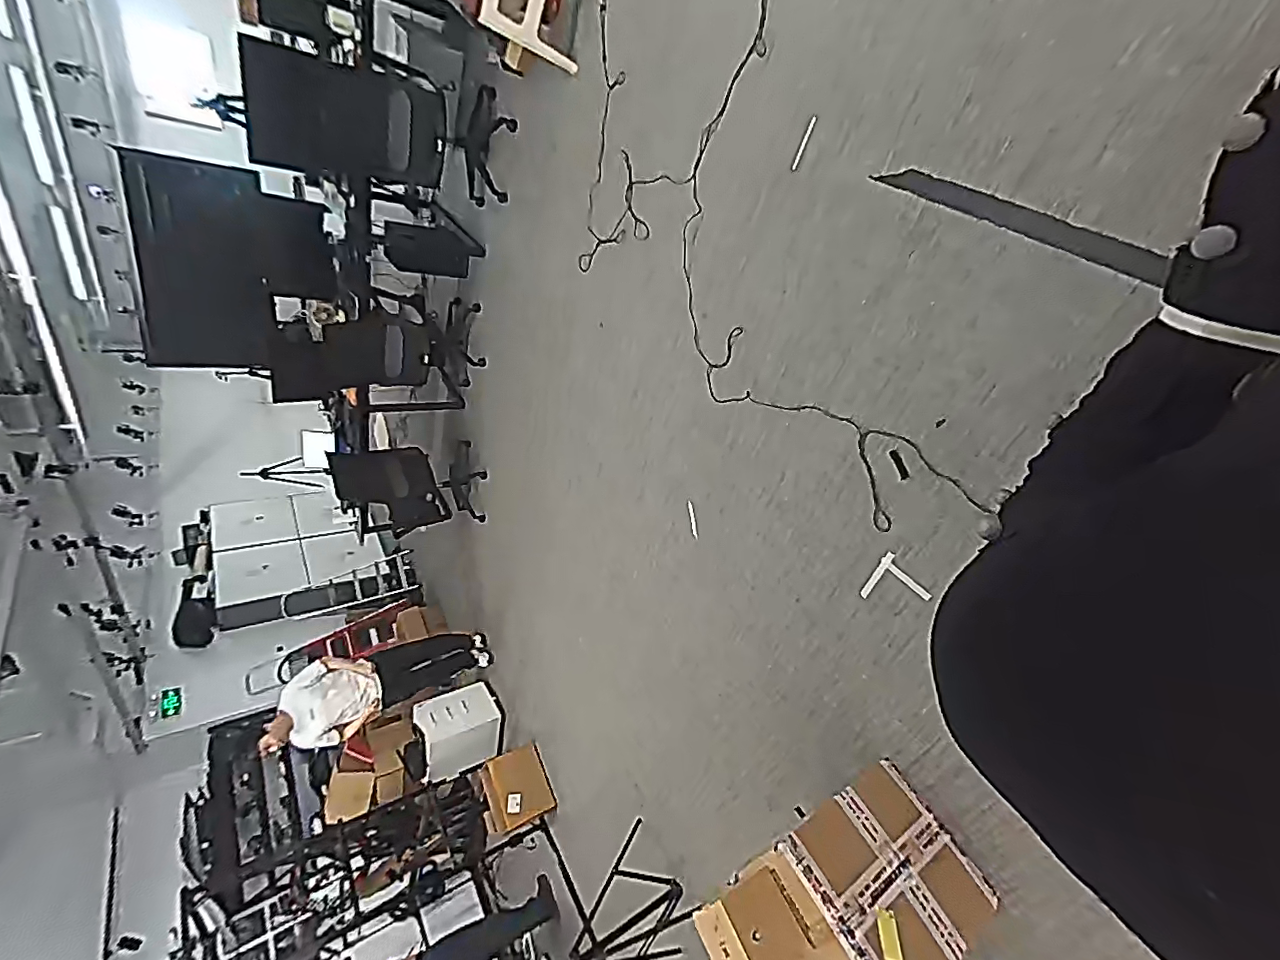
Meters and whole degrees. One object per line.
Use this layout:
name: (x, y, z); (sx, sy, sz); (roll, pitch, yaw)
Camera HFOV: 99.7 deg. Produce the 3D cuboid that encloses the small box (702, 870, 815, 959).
small box: (0.289, 1.106, 1.321); (0.179, 0.176, 0.168); (57, 136, 33)
